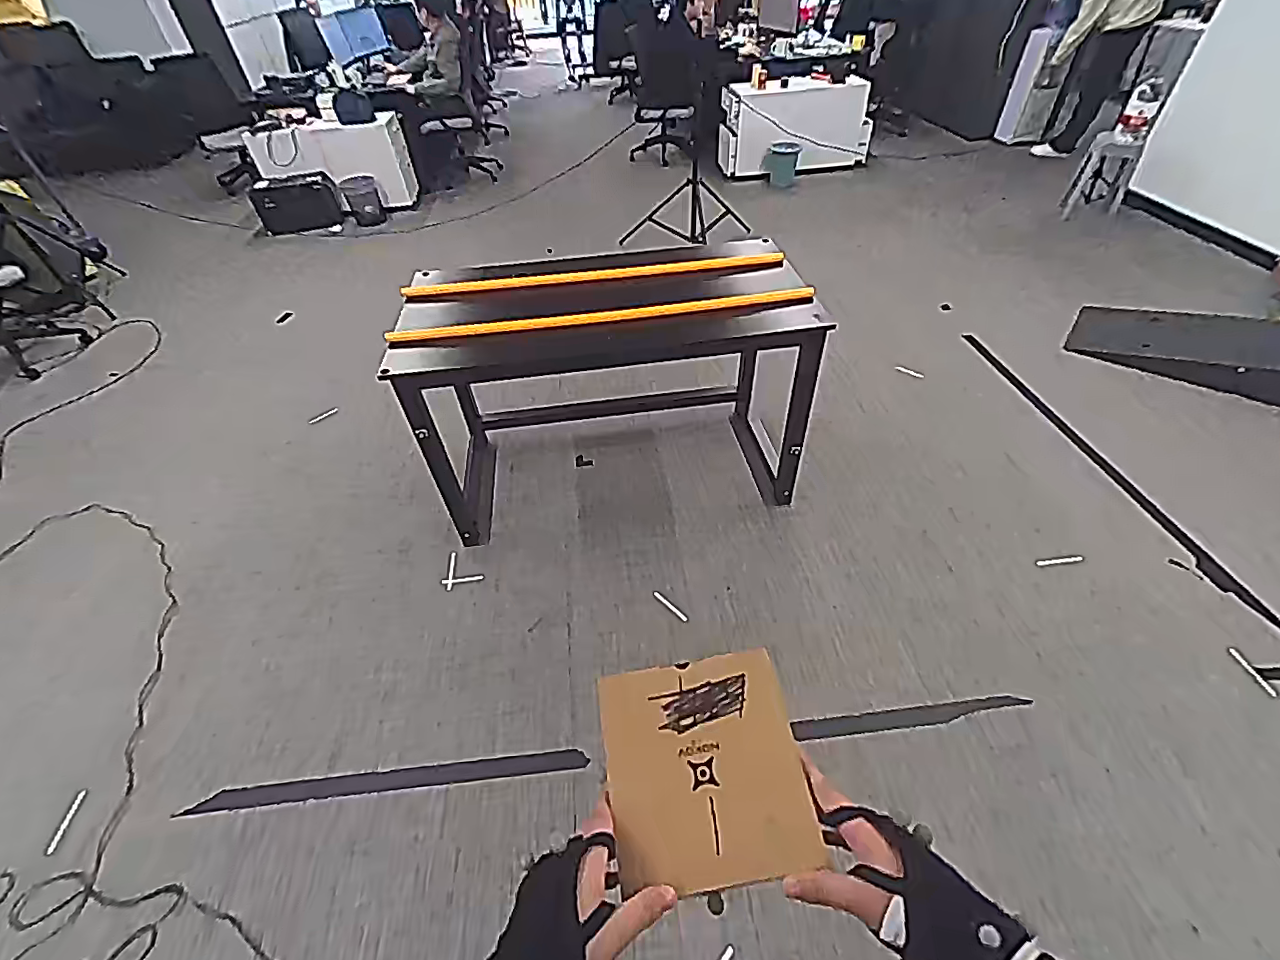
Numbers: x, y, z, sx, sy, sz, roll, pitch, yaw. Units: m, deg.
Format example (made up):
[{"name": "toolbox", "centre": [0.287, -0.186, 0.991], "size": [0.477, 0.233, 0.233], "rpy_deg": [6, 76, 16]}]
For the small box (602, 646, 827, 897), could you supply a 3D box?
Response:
[{"name": "small box", "centre": [0.059, 0.288, 0.532], "size": [0.168, 0.176, 0.179], "rpy_deg": [-9, 52, -3]}]
